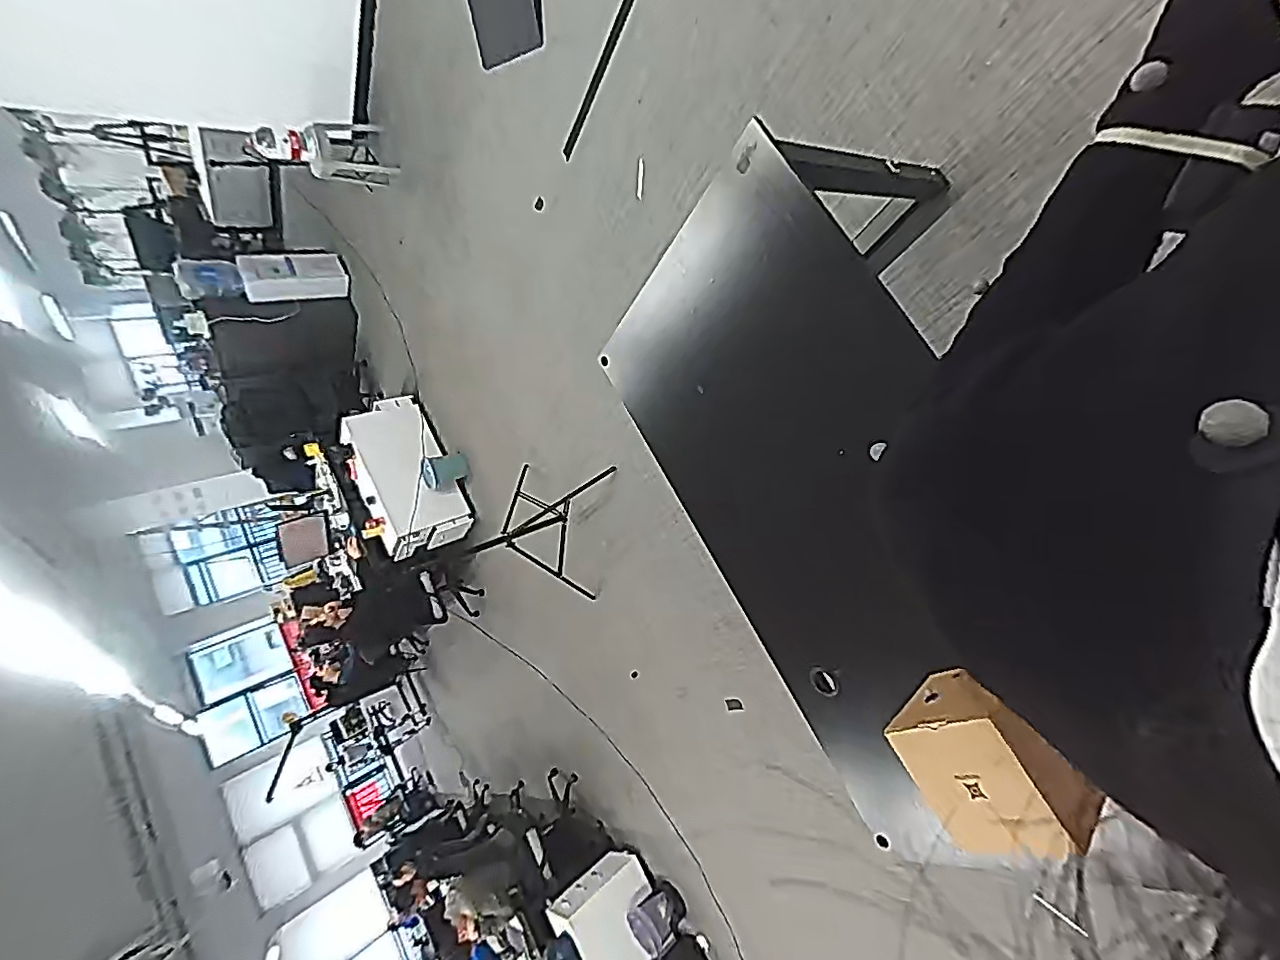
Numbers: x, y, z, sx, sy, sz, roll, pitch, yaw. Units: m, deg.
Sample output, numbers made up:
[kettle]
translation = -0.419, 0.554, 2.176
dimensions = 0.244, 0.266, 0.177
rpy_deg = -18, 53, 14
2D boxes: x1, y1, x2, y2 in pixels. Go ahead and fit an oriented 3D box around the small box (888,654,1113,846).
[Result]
[small box]
translation = 0.492, 0.359, 0.744
dimensions = 0.179, 0.176, 0.168
rpy_deg = 59, 143, 13
